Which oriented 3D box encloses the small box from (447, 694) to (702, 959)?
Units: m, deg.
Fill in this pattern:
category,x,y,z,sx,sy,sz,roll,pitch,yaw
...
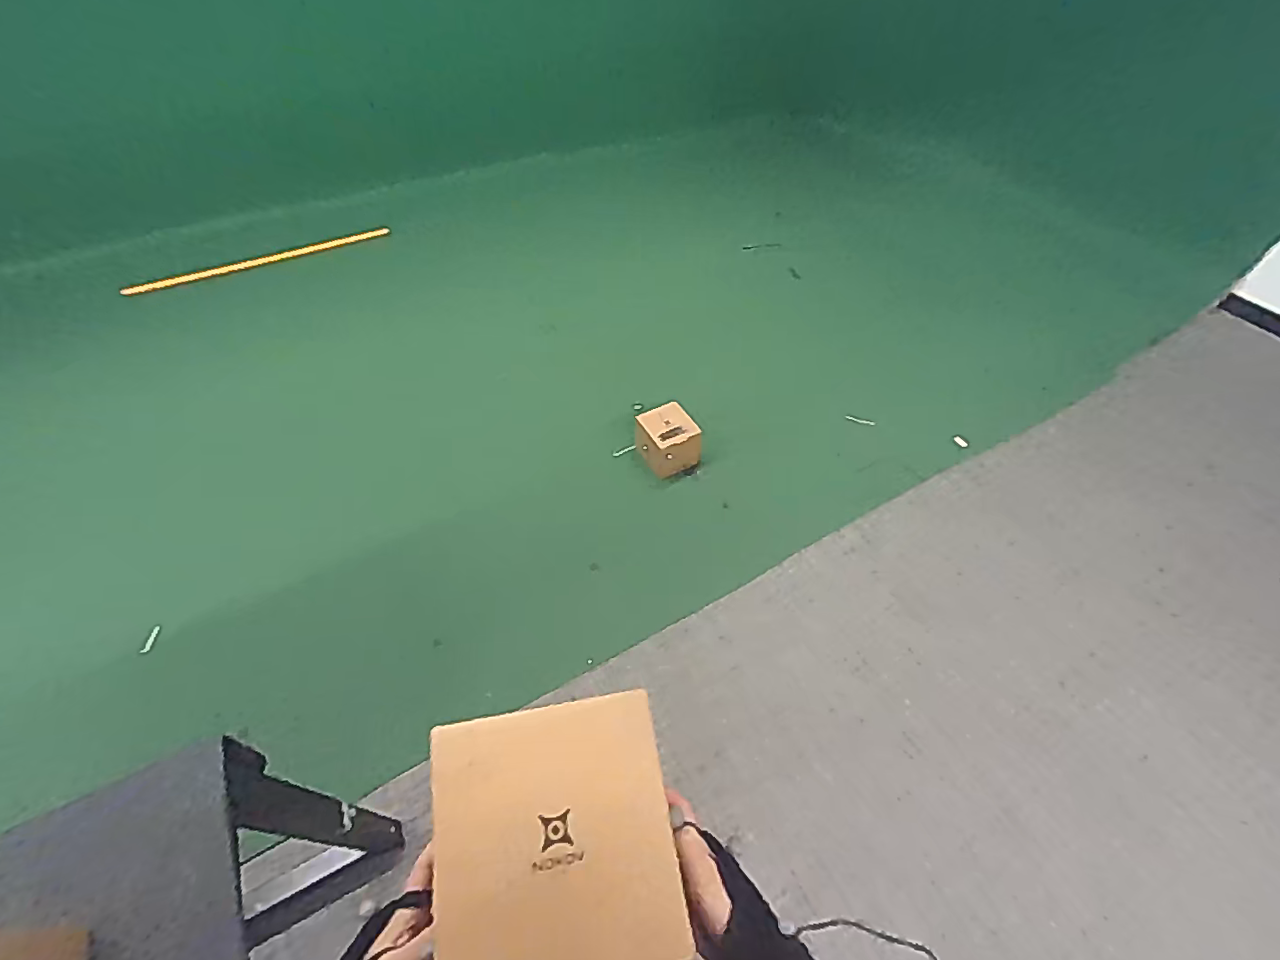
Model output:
category,x,y,z,sx,sy,sz,roll,pitch,yaw
small box,-0.063,0.296,0.452,0.168,0.176,0.179,-6,62,-11
